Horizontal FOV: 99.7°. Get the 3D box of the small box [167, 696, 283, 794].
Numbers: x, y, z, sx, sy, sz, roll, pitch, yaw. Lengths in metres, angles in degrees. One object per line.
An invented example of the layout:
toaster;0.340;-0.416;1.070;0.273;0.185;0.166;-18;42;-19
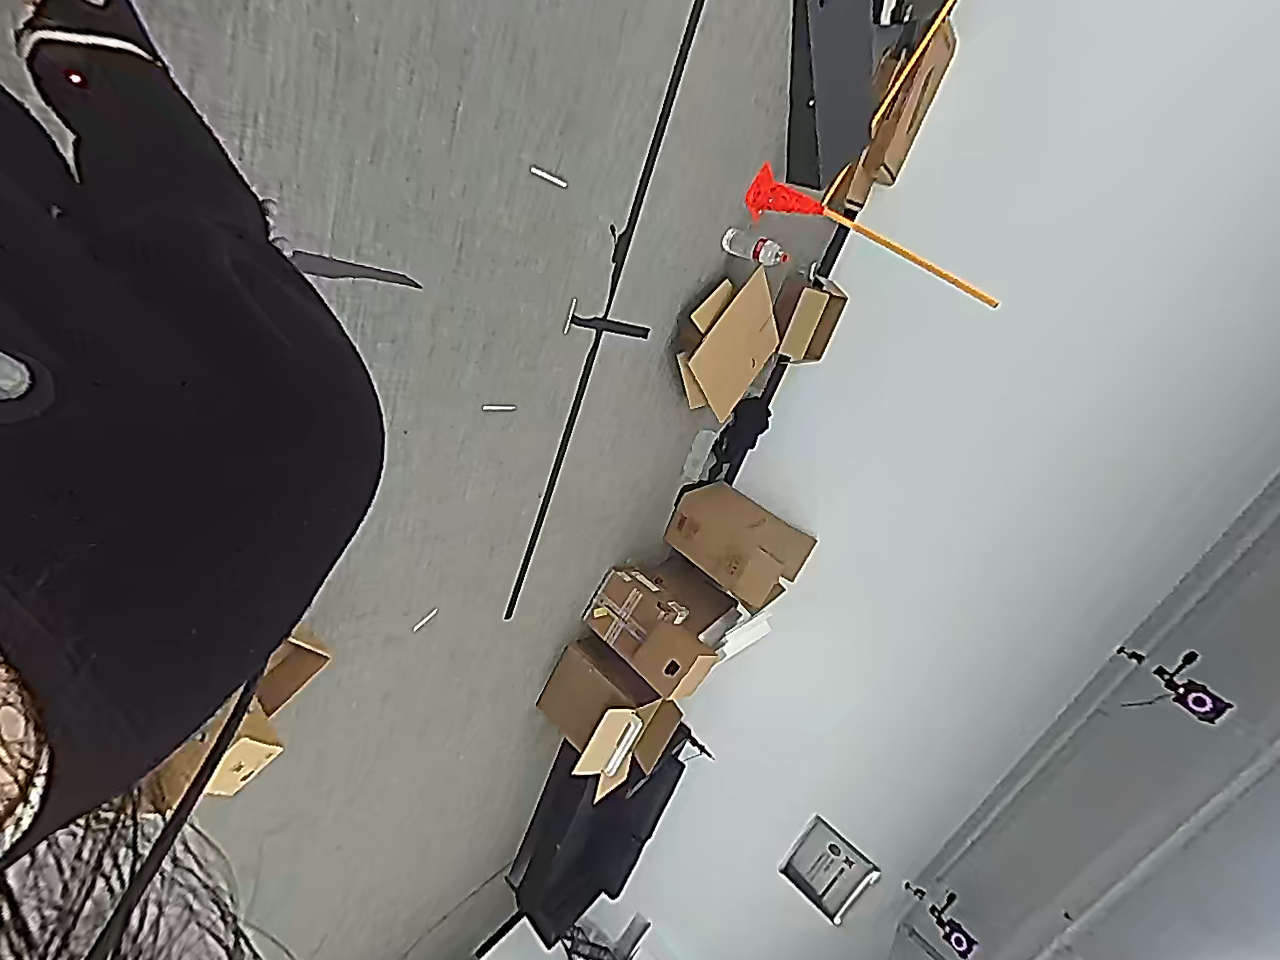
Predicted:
small box;-1.162;0.737;1.512;0.168;0.176;0.179;-43;150;-22
